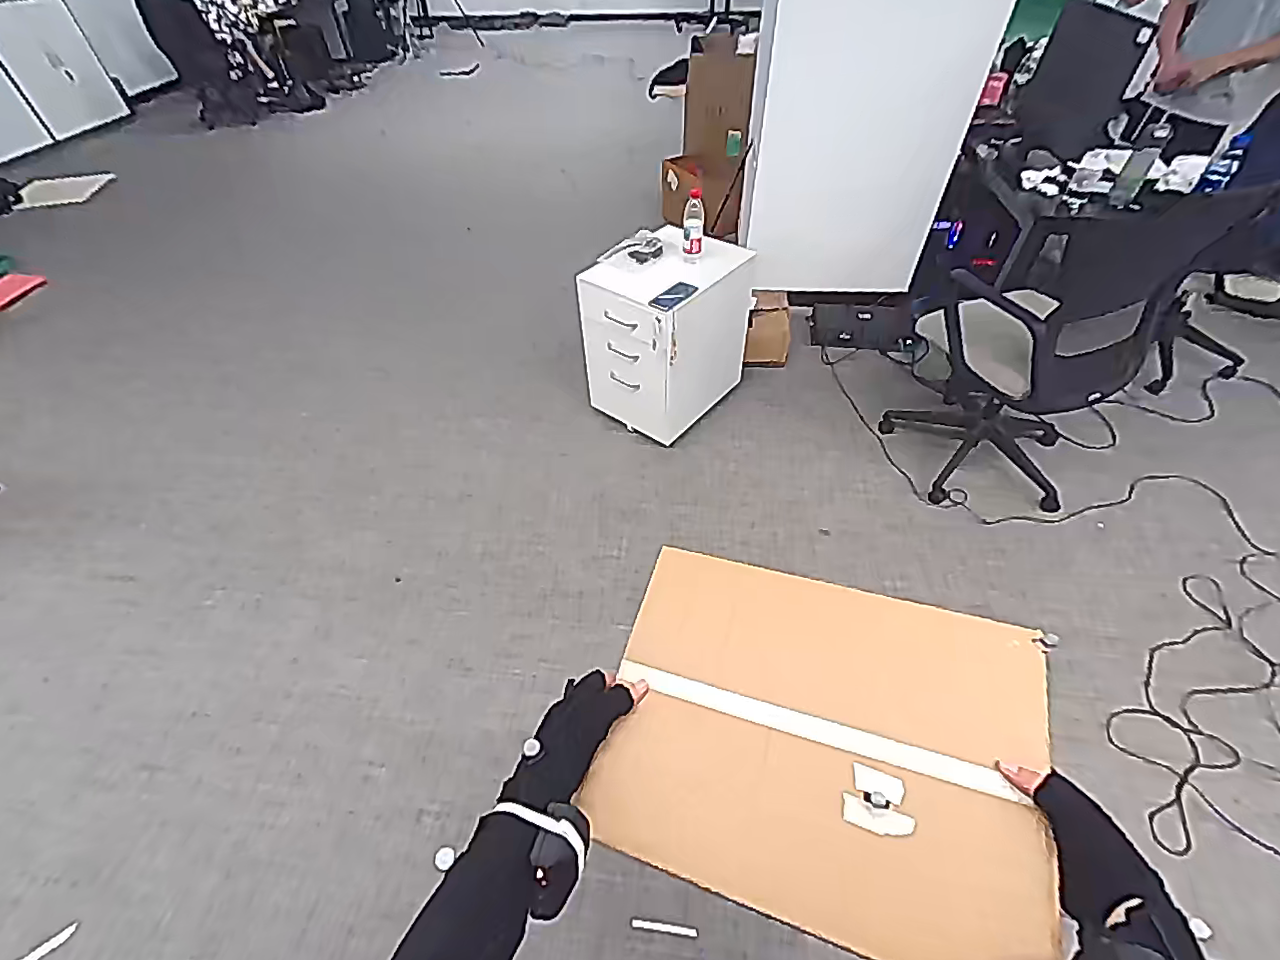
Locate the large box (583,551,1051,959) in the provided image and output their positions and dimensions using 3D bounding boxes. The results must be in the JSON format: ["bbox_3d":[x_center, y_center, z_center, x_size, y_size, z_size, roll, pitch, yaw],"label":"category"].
[{"bbox_3d":[0.195,0.327,0.665,0.408,0.320,0.320,11,59,18],"label":"large box"}]
